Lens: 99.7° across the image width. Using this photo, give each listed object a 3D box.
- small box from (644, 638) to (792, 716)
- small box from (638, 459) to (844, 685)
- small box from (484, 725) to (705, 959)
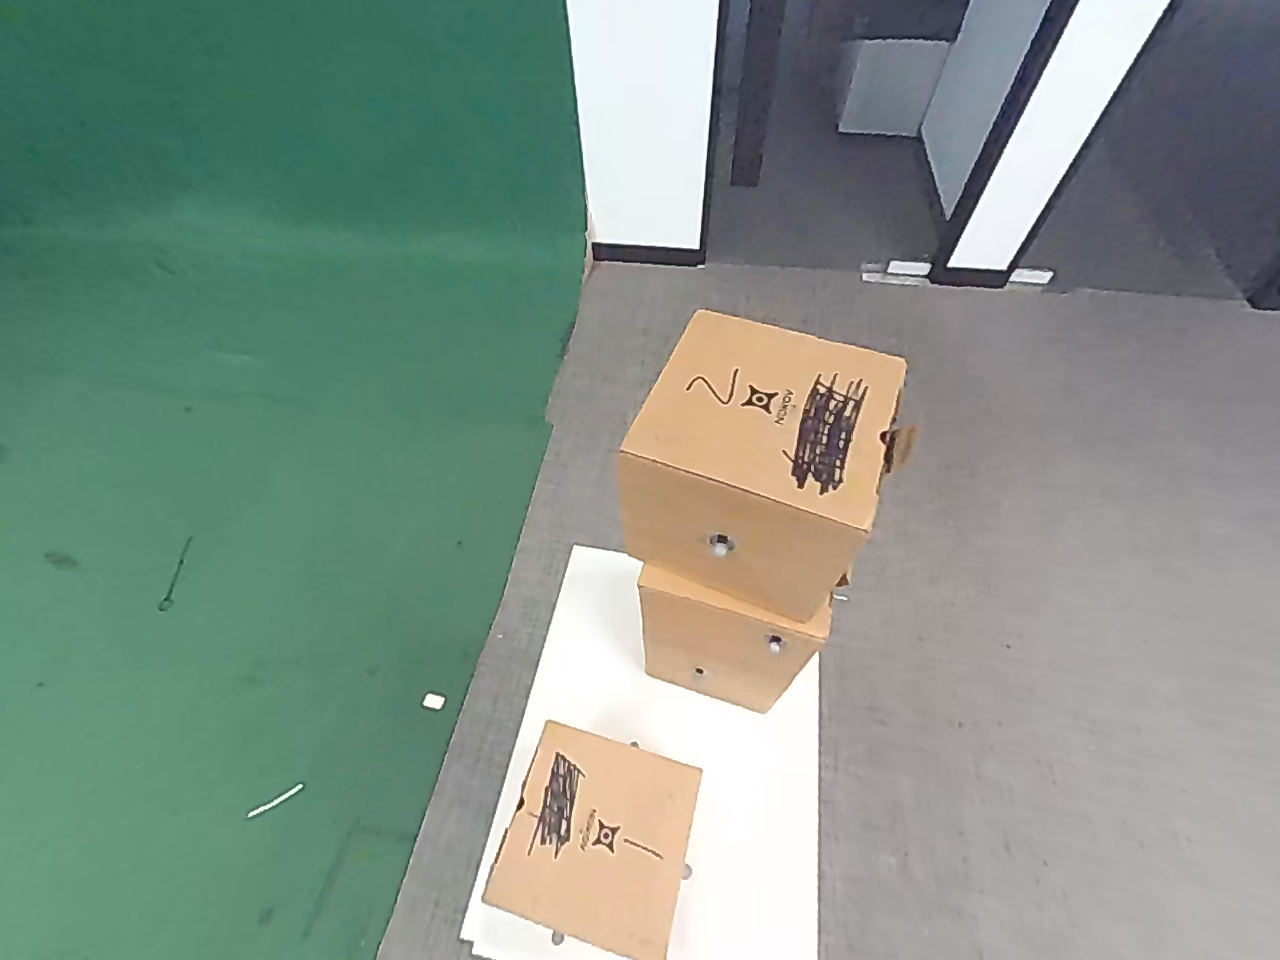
[{"bbox_3d":[0.114,0.198,0.726,0.179,0.176,0.168,14,57,12],"label":"small box"},{"bbox_3d":[0.105,0.105,0.592,0.179,0.176,0.168,14,56,11],"label":"small box"},{"bbox_3d":[-0.039,0.394,0.589,0.179,0.176,0.168,14,56,9],"label":"small box"}]
